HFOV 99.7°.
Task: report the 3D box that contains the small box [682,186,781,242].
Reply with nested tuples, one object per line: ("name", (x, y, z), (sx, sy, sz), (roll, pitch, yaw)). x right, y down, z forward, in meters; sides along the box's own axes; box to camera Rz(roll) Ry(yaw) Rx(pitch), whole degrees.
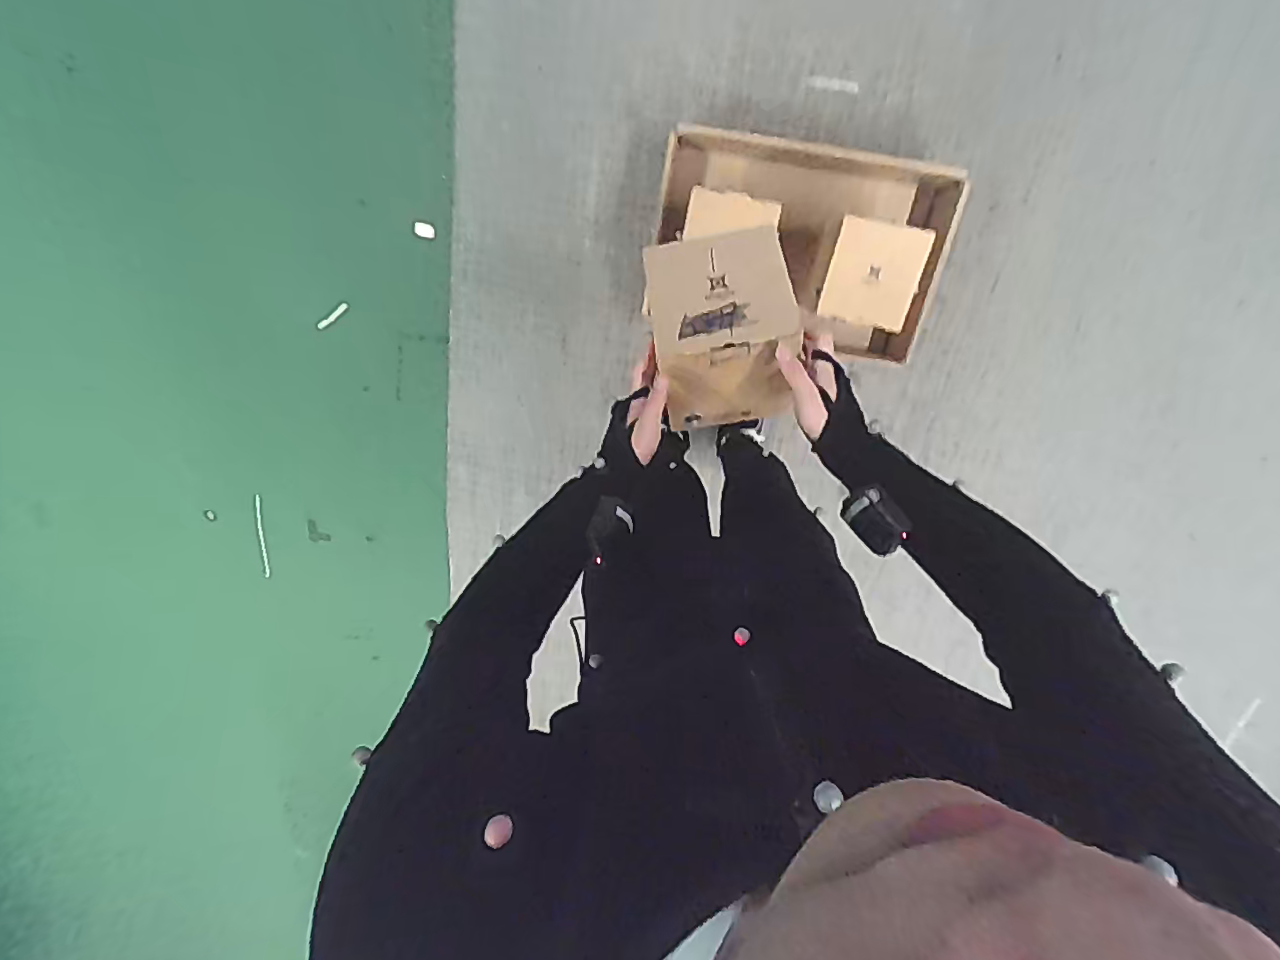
("small box", (0.165, -0.460, 1.073), (0.168, 0.176, 0.179), (13, 112, 1))

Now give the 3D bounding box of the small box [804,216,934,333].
("small box", (0.436, -0.402, 1.066), (0.168, 0.176, 0.179), (13, 112, 2))

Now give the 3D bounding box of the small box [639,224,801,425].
("small box", (0.099, -0.184, 0.693), (0.168, 0.176, 0.179), (-9, 66, 5))
